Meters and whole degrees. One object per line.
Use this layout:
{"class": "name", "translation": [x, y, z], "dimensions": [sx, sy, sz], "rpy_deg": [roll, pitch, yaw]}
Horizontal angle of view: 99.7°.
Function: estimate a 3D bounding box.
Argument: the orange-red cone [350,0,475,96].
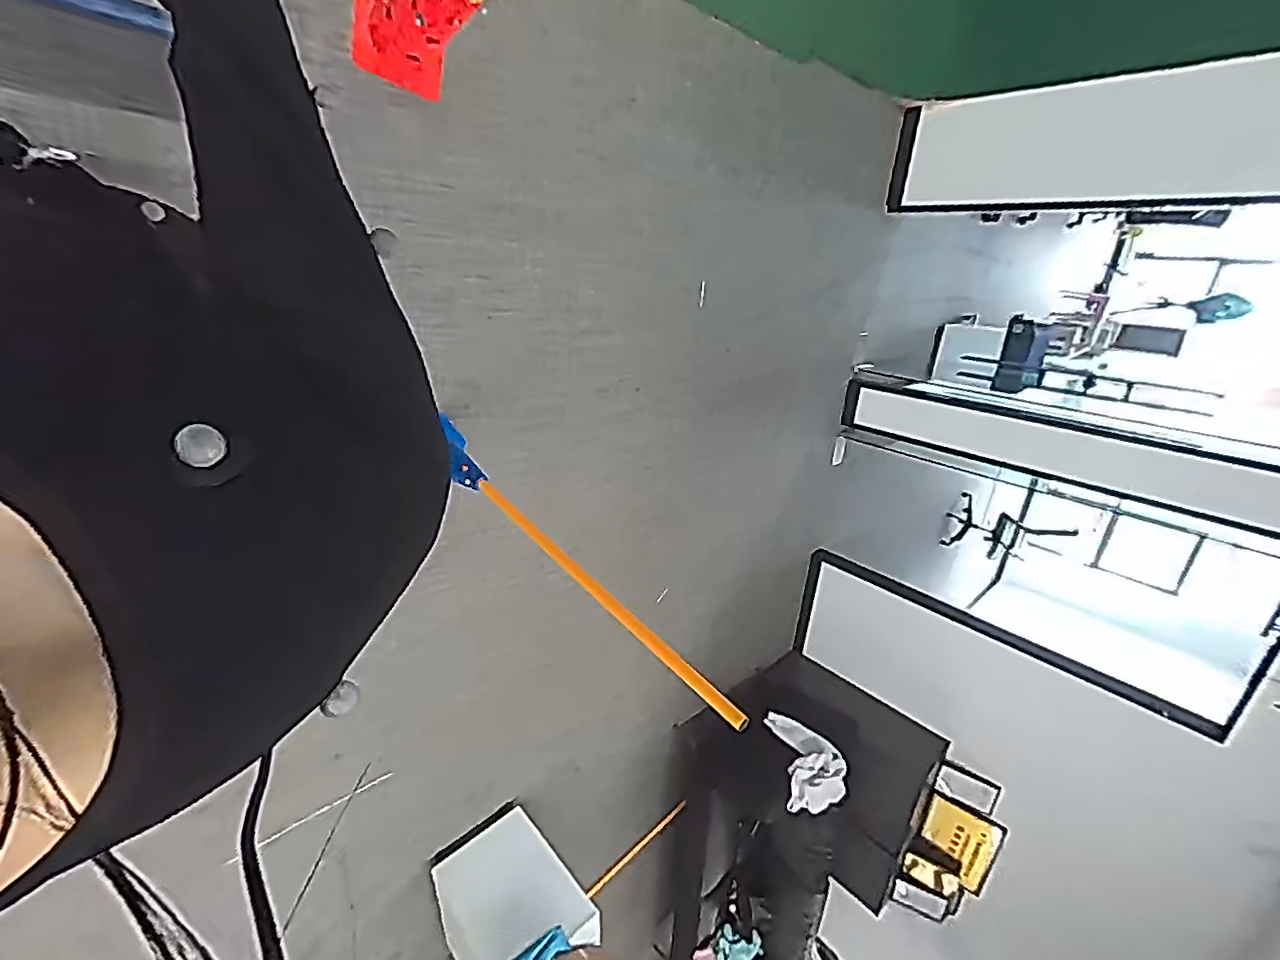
{"class": "orange-red cone", "translation": [-0.433, -0.967, 1.119], "dimensions": [0.198, 0.360, 0.199], "rpy_deg": [-1, 110, -45]}
